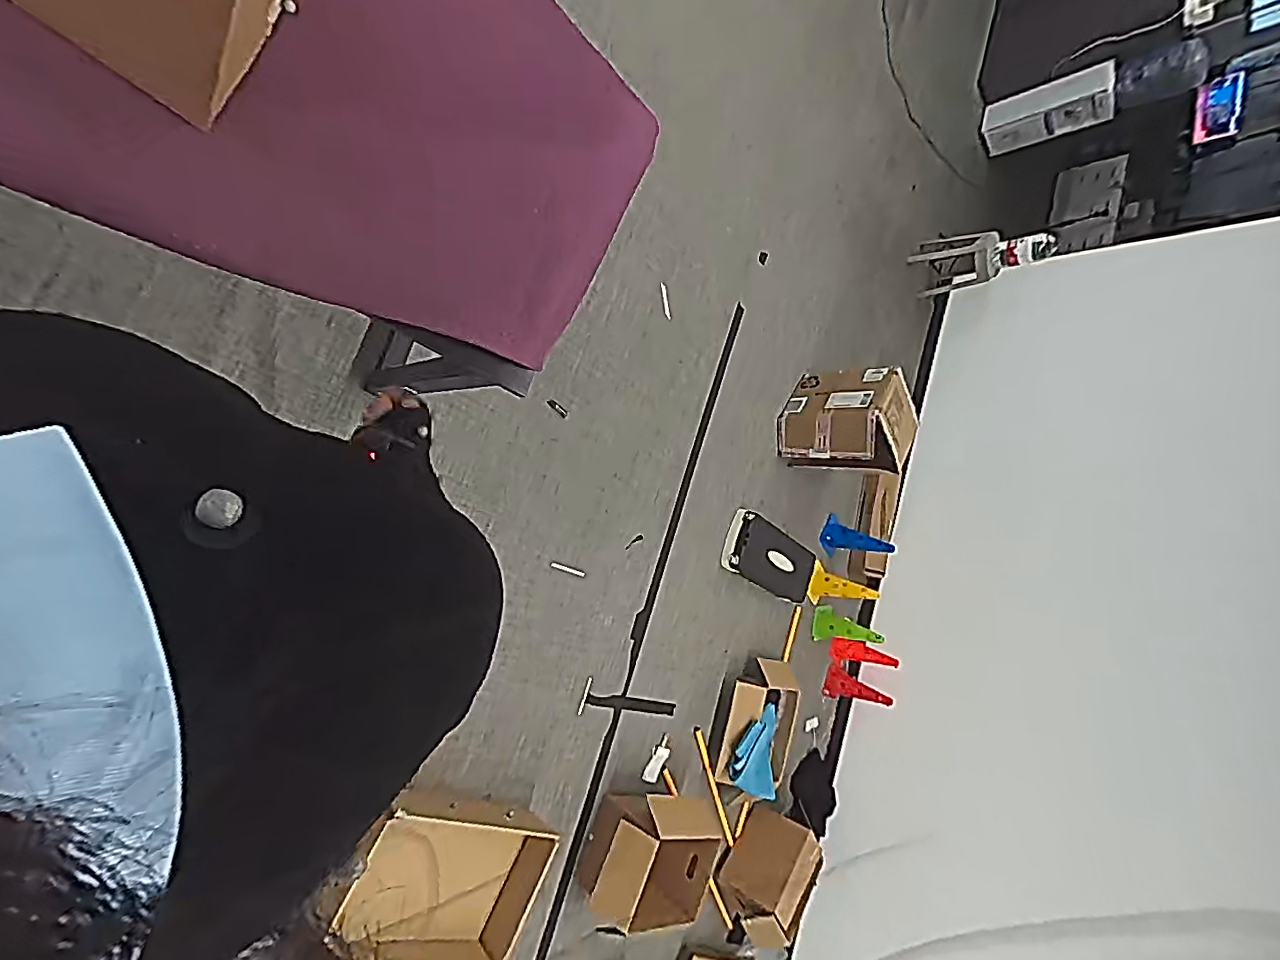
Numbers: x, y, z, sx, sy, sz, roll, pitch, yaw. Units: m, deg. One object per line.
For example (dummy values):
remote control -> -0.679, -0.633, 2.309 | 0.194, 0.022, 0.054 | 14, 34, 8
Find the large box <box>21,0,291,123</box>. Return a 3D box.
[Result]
large box -> -0.455, -0.584, 0.388 | 0.408, 0.320, 0.320 | 29, 73, -40
